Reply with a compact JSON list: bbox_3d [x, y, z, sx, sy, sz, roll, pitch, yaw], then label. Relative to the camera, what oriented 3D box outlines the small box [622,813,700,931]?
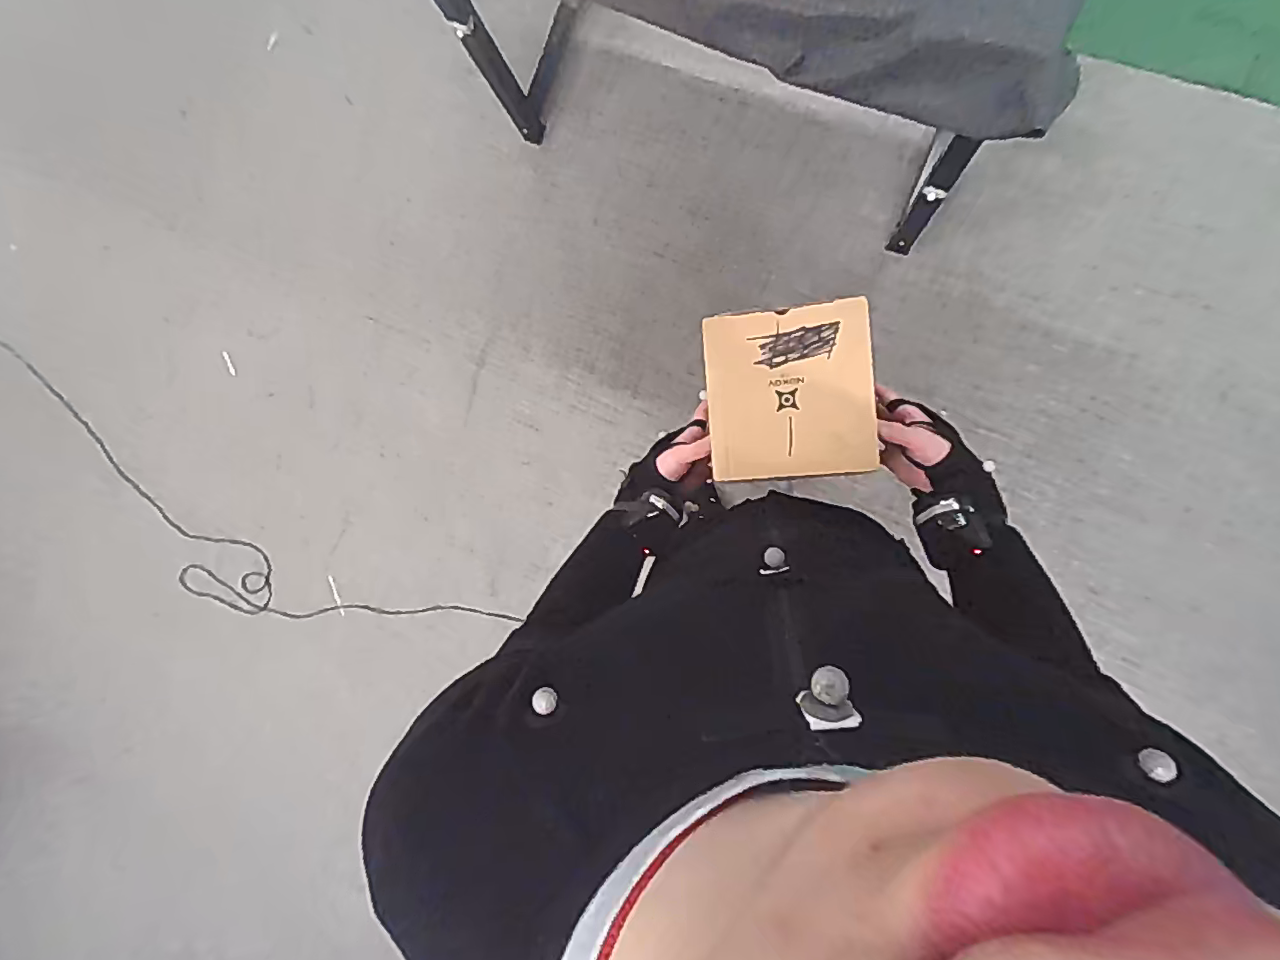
[{"bbox_3d":[0.067,1.095,1.524,0.168,0.176,0.179,20,93,7],"label":"small box"}]
